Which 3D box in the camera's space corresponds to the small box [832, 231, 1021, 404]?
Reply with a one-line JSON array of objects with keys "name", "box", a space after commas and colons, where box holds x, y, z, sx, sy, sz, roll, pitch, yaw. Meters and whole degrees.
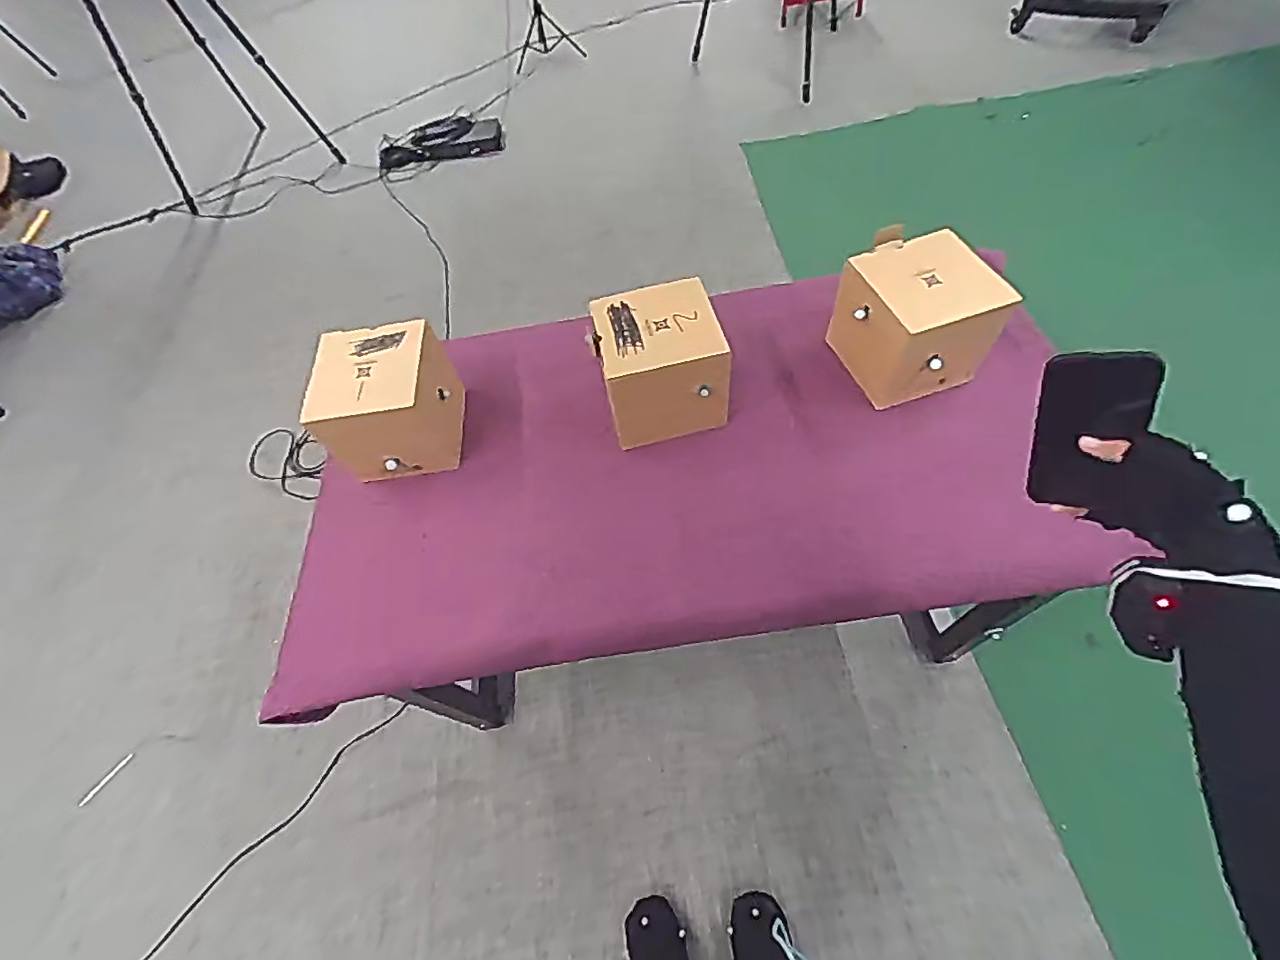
[{"name": "small box", "box": [0.419, -0.238, 0.828, 0.168, 0.176, 0.179, -18, 58, -3]}]

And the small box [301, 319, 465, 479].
[{"name": "small box", "box": [-0.387, -0.123, 0.852, 0.168, 0.176, 0.179, -8, 60, 2]}]
